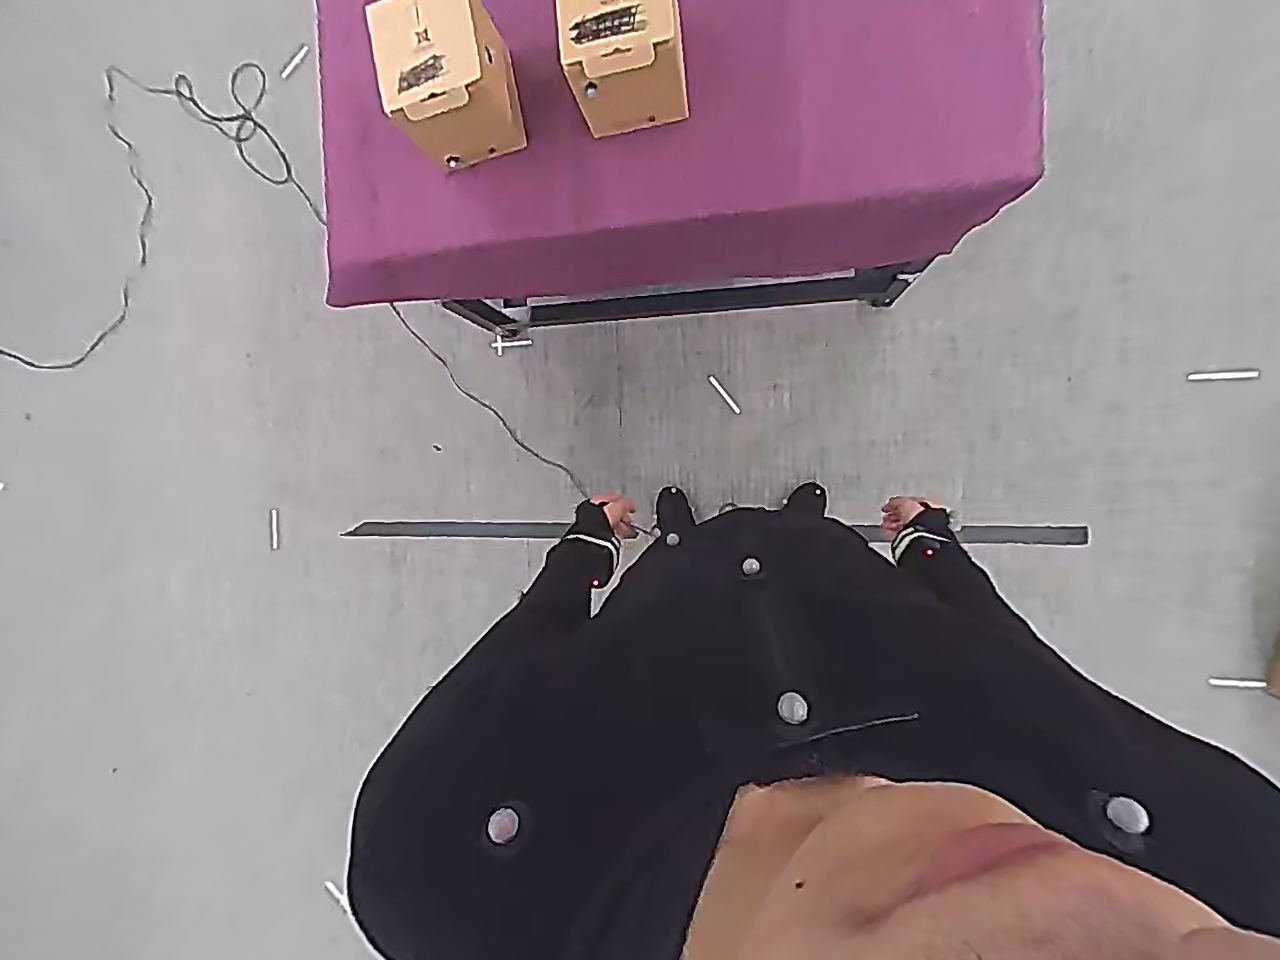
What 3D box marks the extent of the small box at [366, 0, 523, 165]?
[{"bbox_3d":[-0.305,-0.648,0.878,0.168,0.176,0.179,-11,89,10],"label":"small box"}]
